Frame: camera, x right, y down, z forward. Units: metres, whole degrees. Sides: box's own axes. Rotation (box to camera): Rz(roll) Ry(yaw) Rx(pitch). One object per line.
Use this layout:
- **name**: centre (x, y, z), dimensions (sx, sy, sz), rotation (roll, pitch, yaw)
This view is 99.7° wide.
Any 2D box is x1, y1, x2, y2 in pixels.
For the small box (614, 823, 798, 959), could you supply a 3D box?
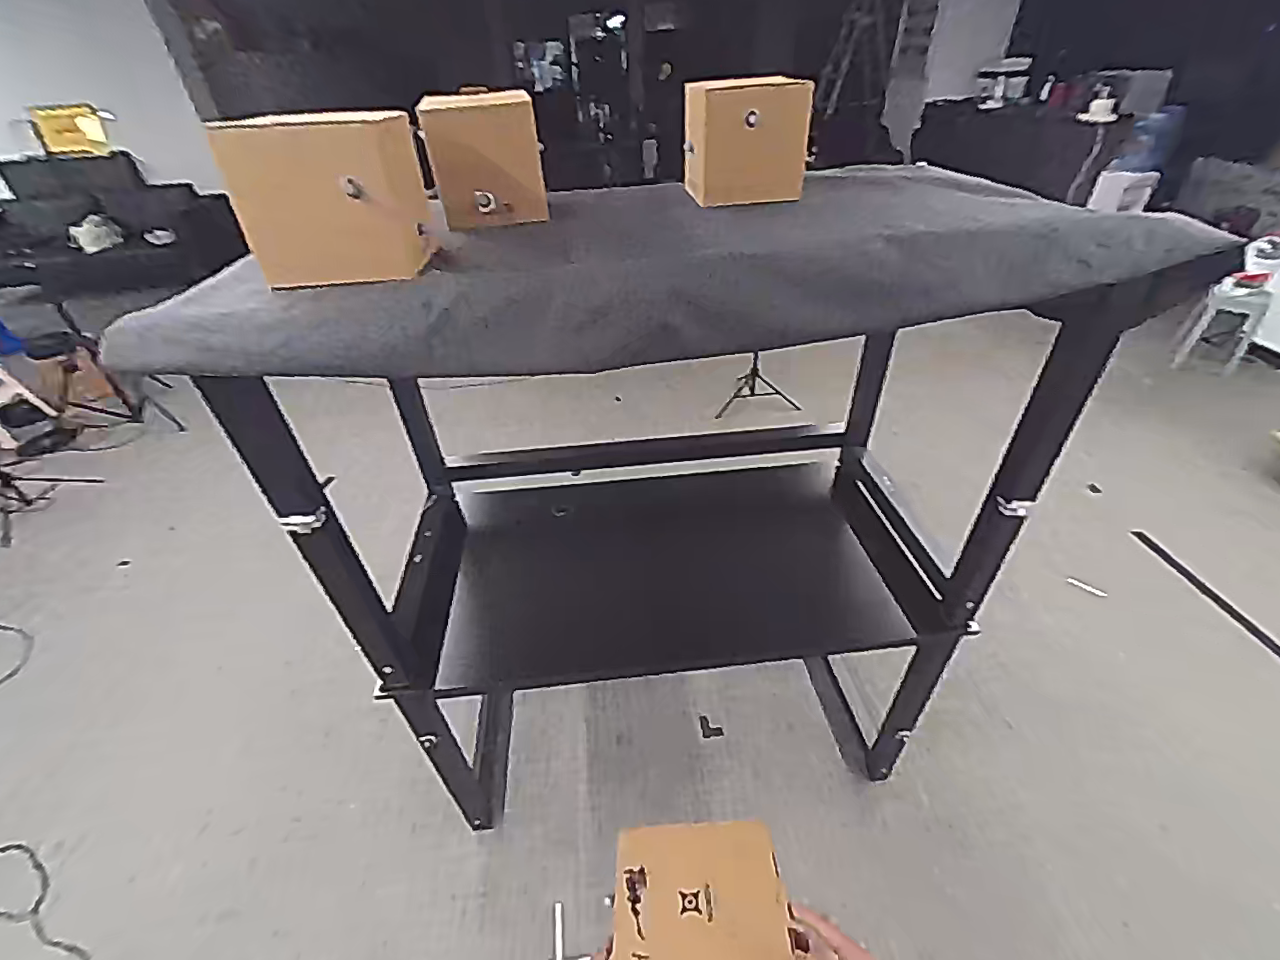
- **small box**: centre (0.066, 0.504, 0.581), dimensions (0.179, 0.176, 0.168), rotation (-2, 22, 3)

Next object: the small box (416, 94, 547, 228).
- **small box**: centre (-0.254, -0.528, 0.895), dimensions (0.168, 0.176, 0.179), rotation (-11, 39, -8)

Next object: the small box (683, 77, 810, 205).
- **small box**: centre (0.174, -0.587, 0.937), dimensions (0.179, 0.176, 0.168), rotation (-6, 39, -3)
